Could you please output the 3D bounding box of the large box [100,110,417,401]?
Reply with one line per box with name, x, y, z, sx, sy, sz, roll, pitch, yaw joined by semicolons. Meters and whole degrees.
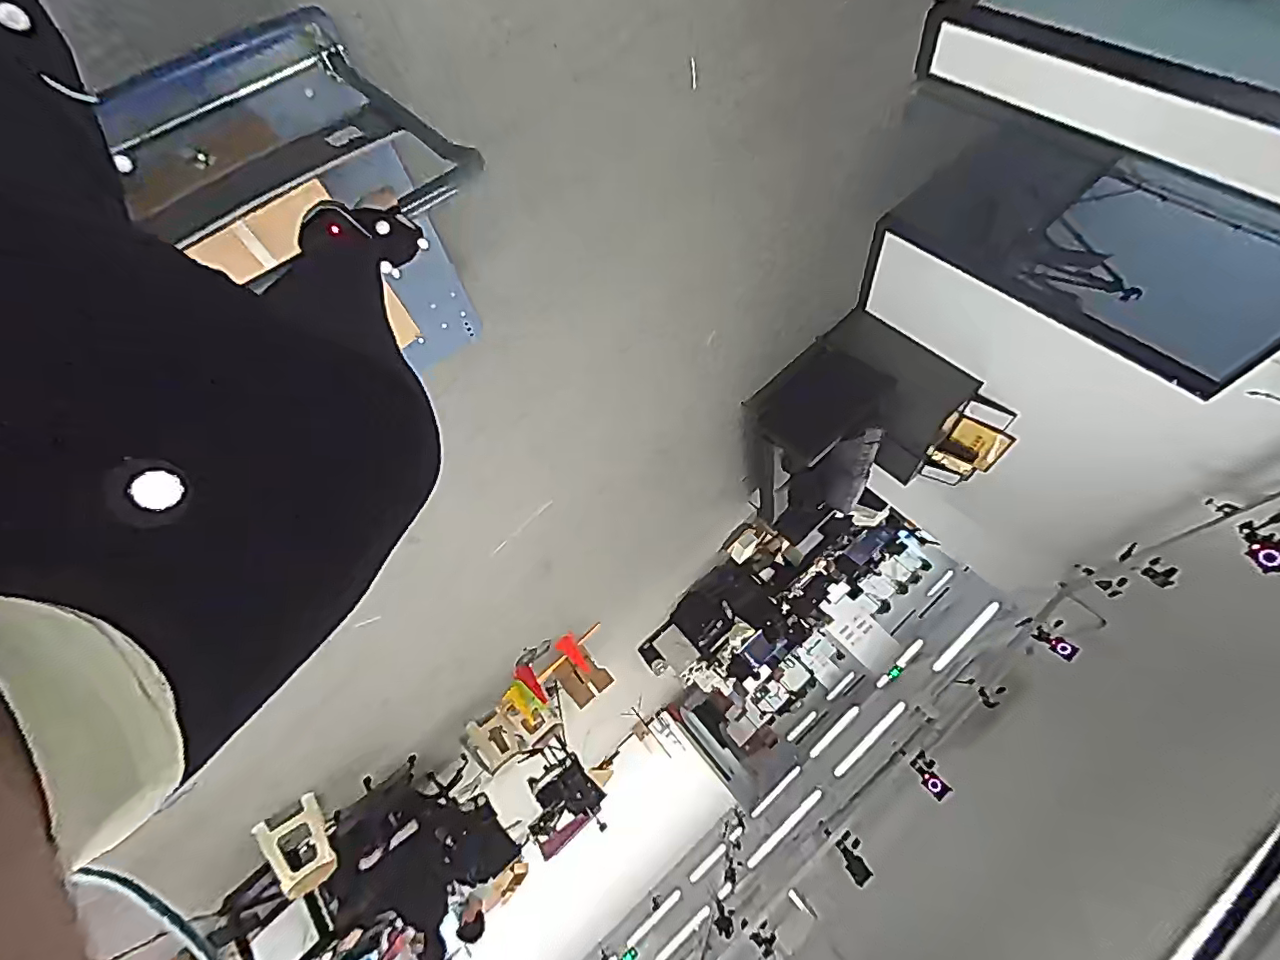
large box;-0.763;-0.452;1.136;0.320;0.320;0.408;-39;156;-13
